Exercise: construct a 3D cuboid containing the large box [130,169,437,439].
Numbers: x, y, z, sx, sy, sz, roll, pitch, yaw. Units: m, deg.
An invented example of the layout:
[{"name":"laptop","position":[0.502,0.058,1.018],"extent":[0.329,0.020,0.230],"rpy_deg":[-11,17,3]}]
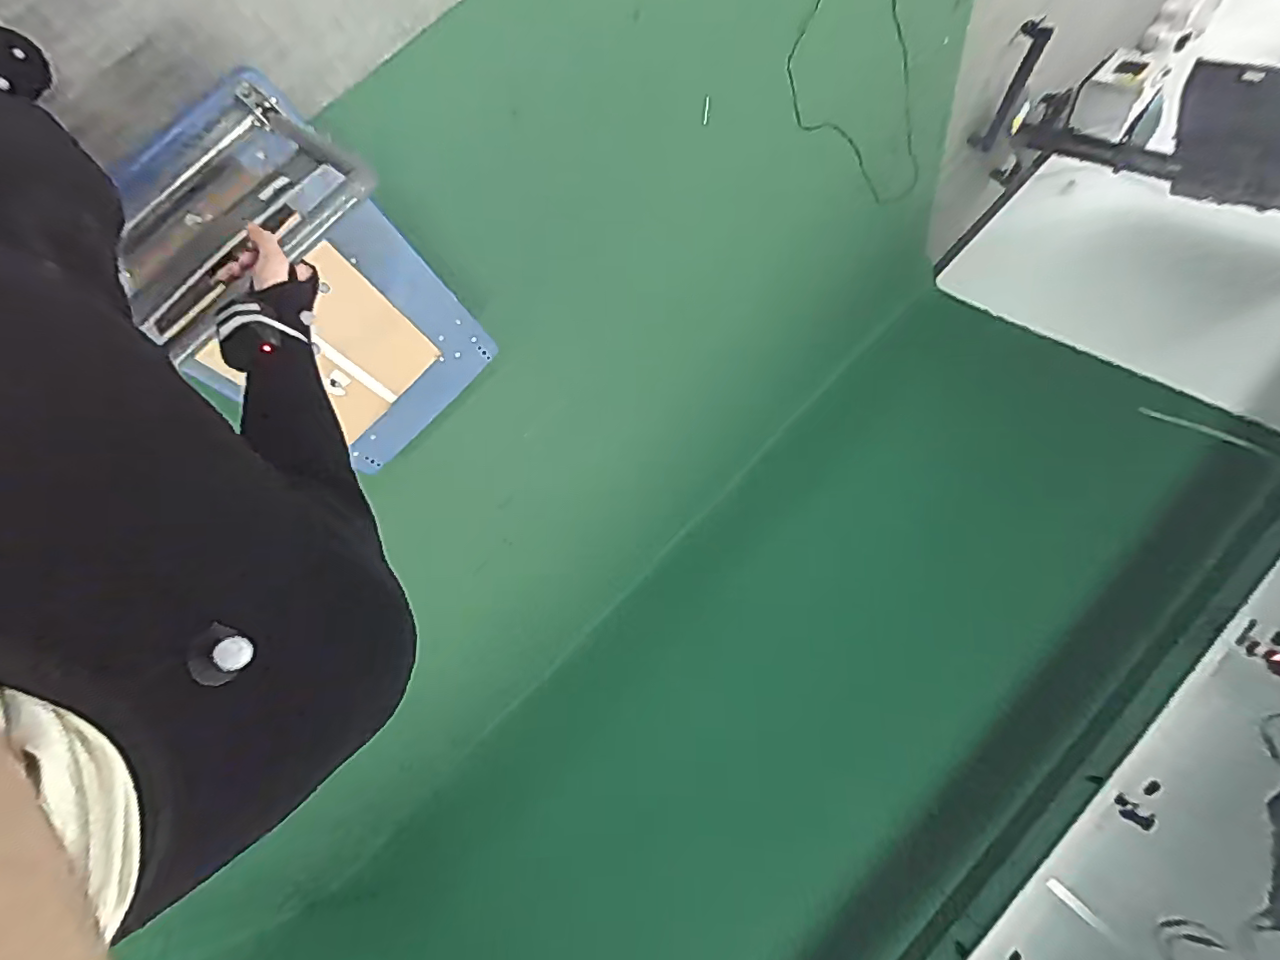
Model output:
[{"name":"large box","position":[-0.742,-0.362,1.166],"extent":[0.320,0.320,0.408],"rpy_deg":[-47,150,-5]}]
